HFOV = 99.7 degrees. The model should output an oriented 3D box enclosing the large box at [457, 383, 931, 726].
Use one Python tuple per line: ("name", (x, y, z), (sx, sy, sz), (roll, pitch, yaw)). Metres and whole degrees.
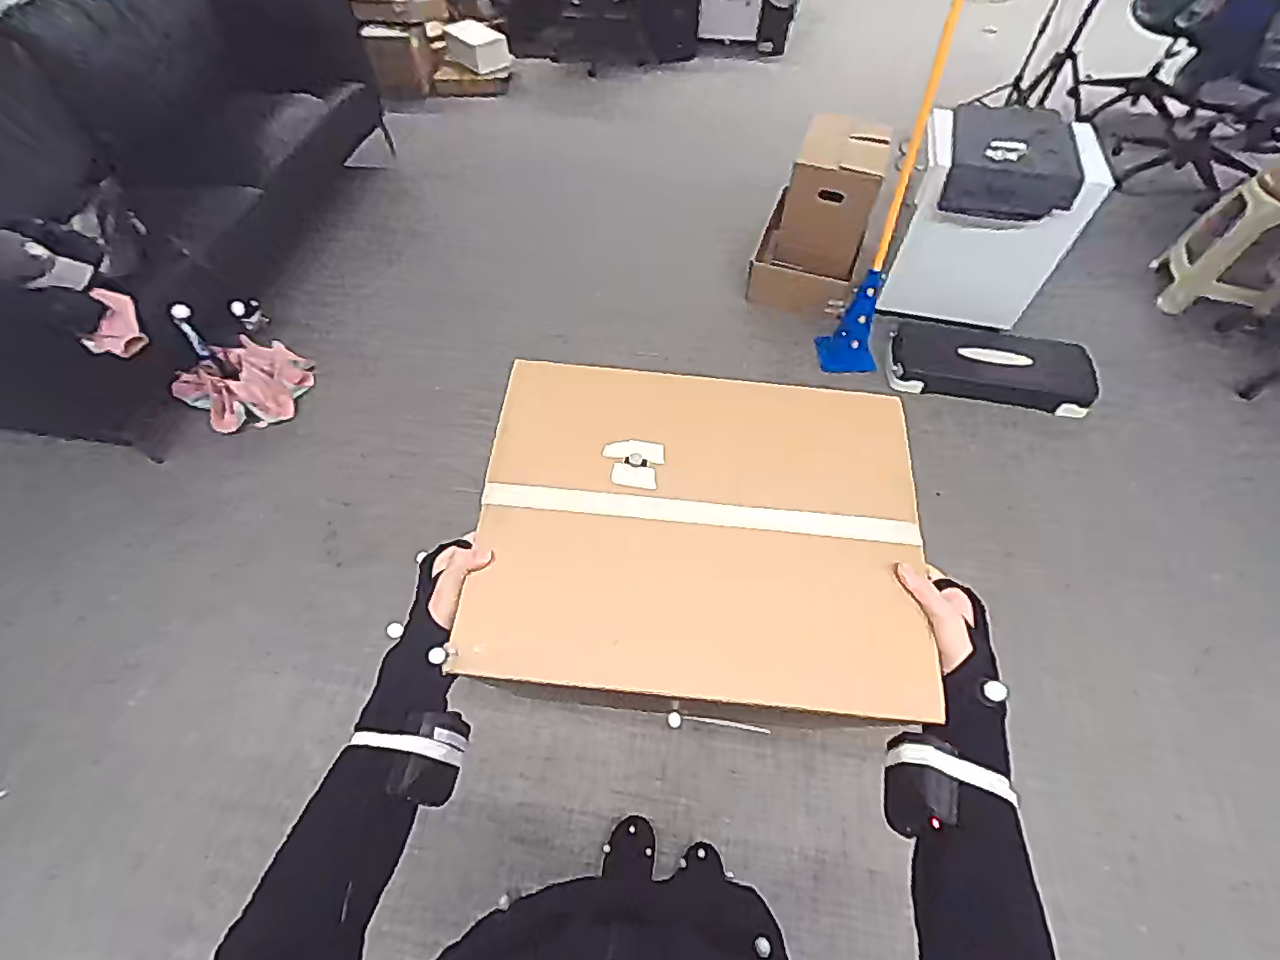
("large box", (0.056, 0.111, 0.646), (0.408, 0.320, 0.320), (5, 64, 2))
